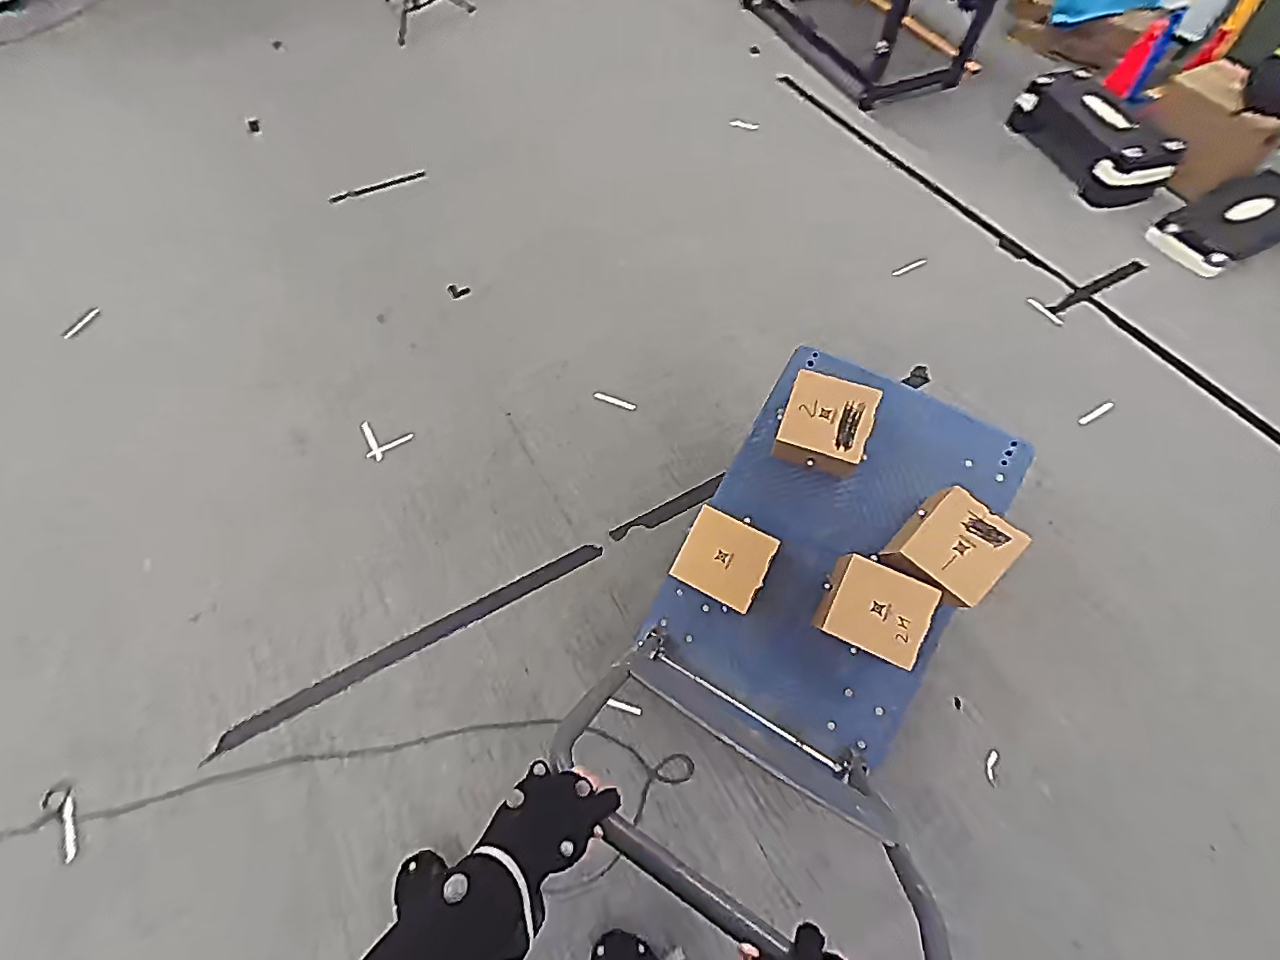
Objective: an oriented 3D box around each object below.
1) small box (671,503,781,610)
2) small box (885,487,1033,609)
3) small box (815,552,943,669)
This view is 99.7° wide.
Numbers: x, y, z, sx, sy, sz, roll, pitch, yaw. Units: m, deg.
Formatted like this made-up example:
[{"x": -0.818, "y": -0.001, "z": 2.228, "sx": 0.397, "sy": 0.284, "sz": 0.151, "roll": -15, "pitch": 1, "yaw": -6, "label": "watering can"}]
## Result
[{"x": 0.187, "y": 0.170, "z": 1.184, "sx": 0.179, "sy": 0.176, "sz": 0.168, "roll": 27, "pitch": 85, "yaw": 13, "label": "small box"}, {"x": 0.635, "y": 0.140, "z": 1.105, "sx": 0.168, "sy": 0.176, "sz": 0.179, "roll": 42, "pitch": 90, "yaw": 15, "label": "small box"}, {"x": 0.477, "y": 0.264, "z": 1.111, "sx": 0.179, "sy": 0.176, "sz": 0.168, "roll": 24, "pitch": 85, "yaw": 14, "label": "small box"}]
